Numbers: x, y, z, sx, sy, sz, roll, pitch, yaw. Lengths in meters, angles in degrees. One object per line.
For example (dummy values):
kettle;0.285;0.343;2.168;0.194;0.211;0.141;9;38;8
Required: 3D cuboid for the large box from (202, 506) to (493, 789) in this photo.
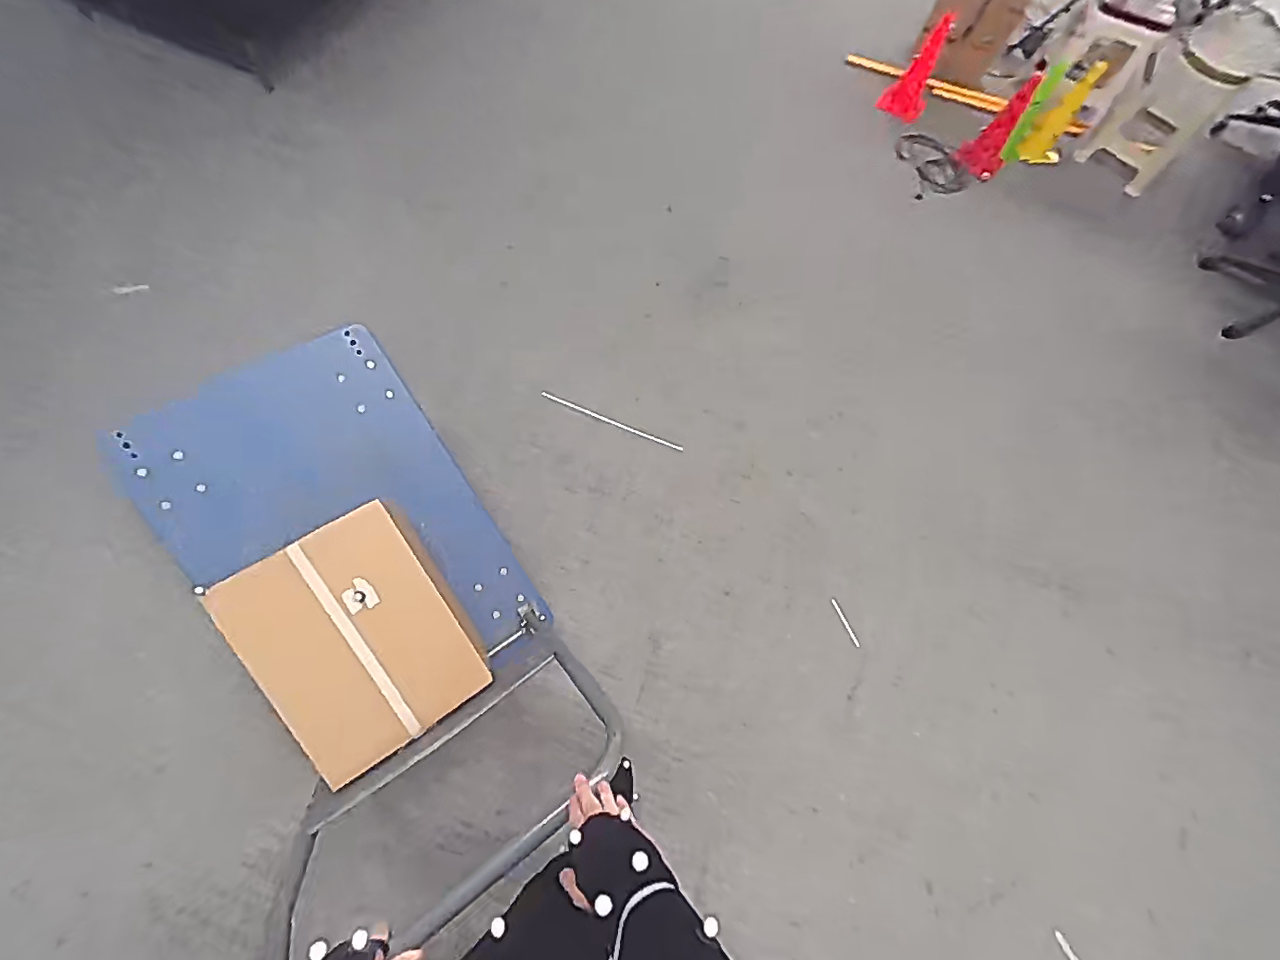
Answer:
large box;-0.543;0.302;1.092;0.320;0.320;0.408;-32;96;-19
